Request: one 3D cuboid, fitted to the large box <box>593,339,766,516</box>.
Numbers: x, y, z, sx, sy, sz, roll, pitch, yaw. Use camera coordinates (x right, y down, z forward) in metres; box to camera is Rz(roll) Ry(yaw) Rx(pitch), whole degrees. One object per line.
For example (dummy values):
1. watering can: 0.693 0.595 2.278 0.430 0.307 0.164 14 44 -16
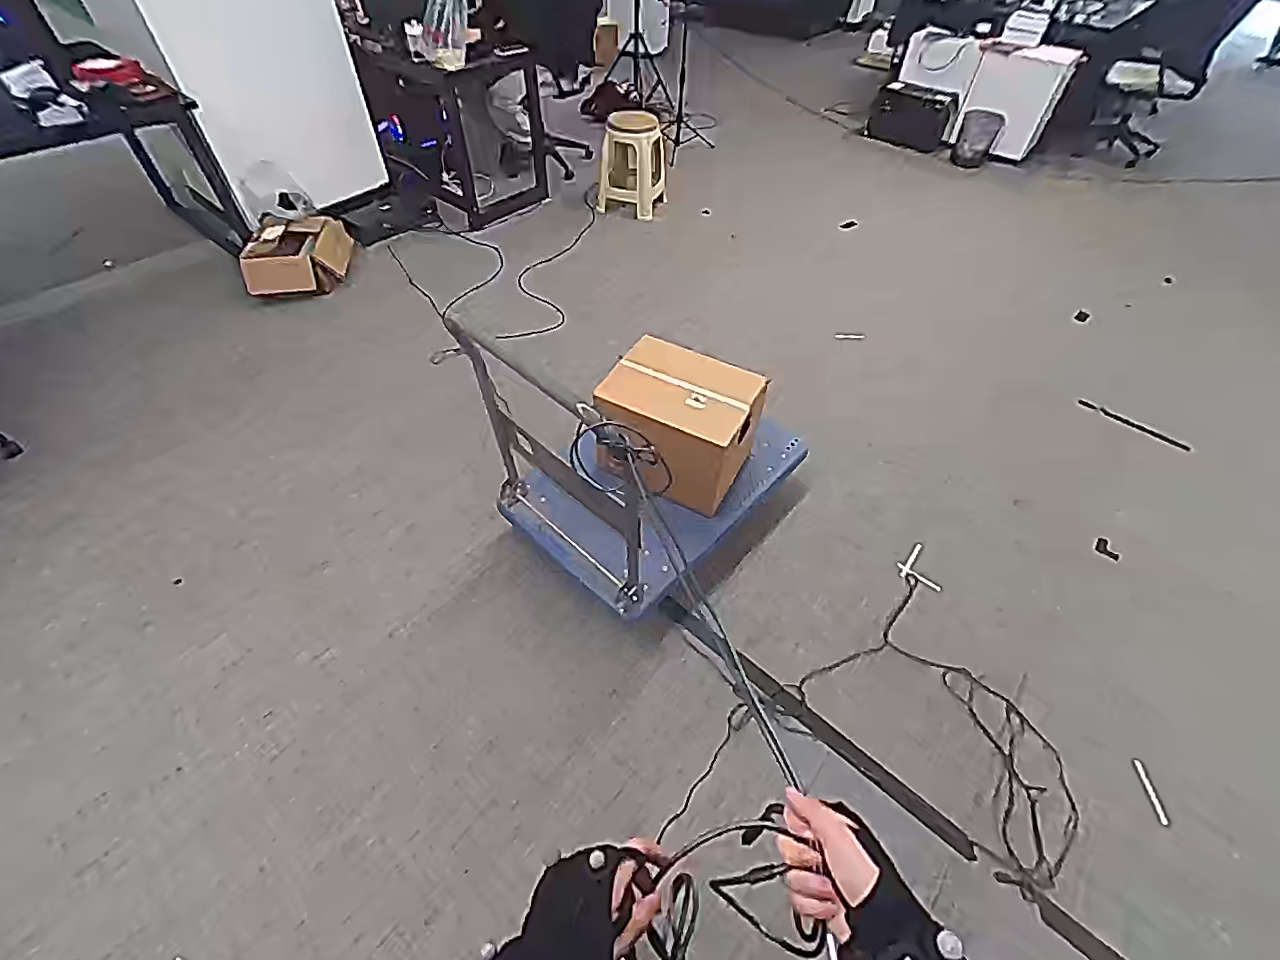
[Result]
1. large box: 0.107 -0.157 1.610 0.408 0.320 0.320 24 55 16
